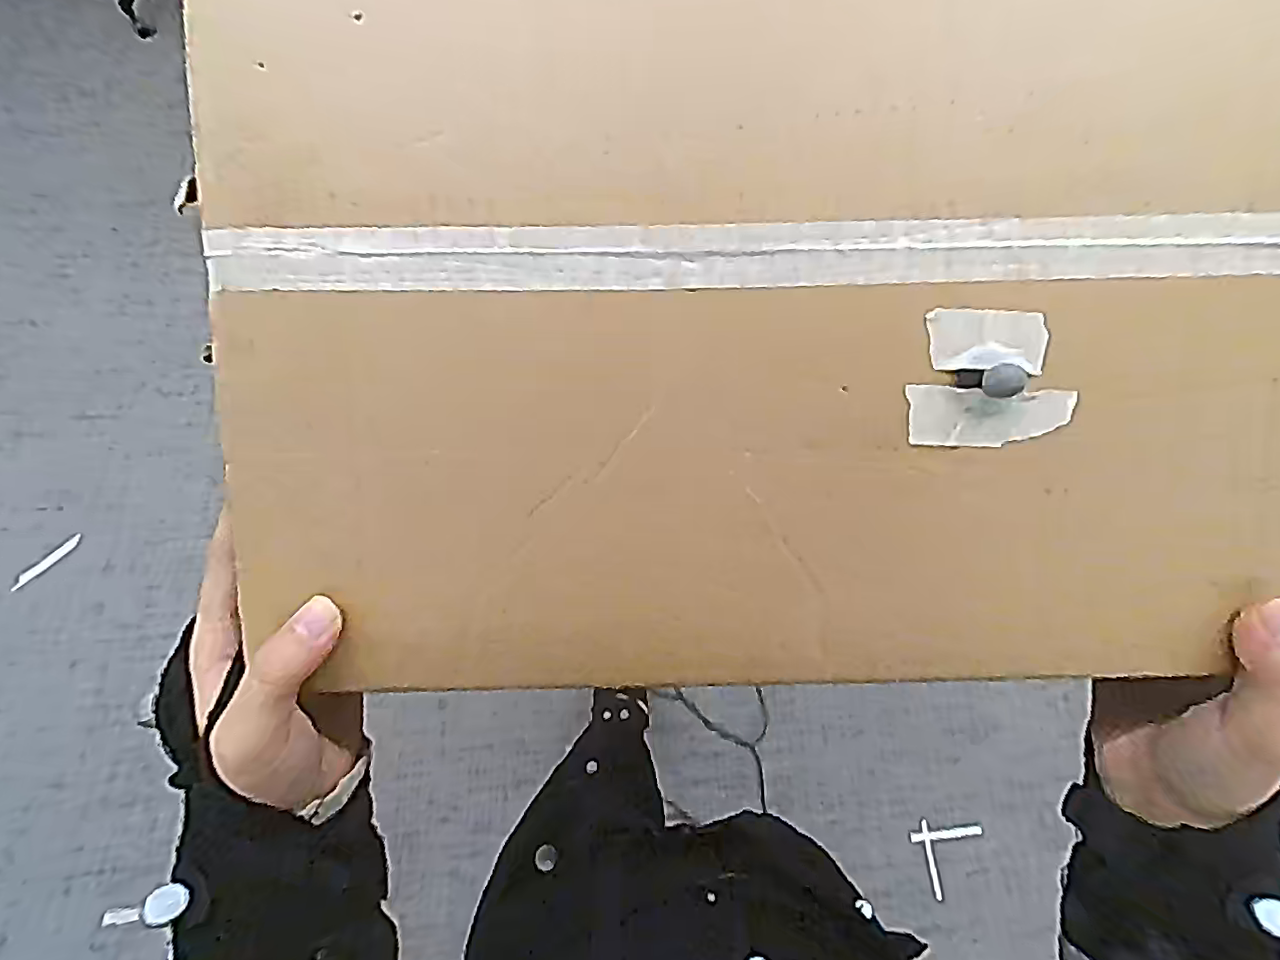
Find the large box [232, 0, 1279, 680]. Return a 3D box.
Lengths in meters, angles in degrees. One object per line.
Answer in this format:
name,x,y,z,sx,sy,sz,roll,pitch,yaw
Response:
large box,0.049,-0.092,0.352,0.408,0.320,0.320,-1,95,-2
